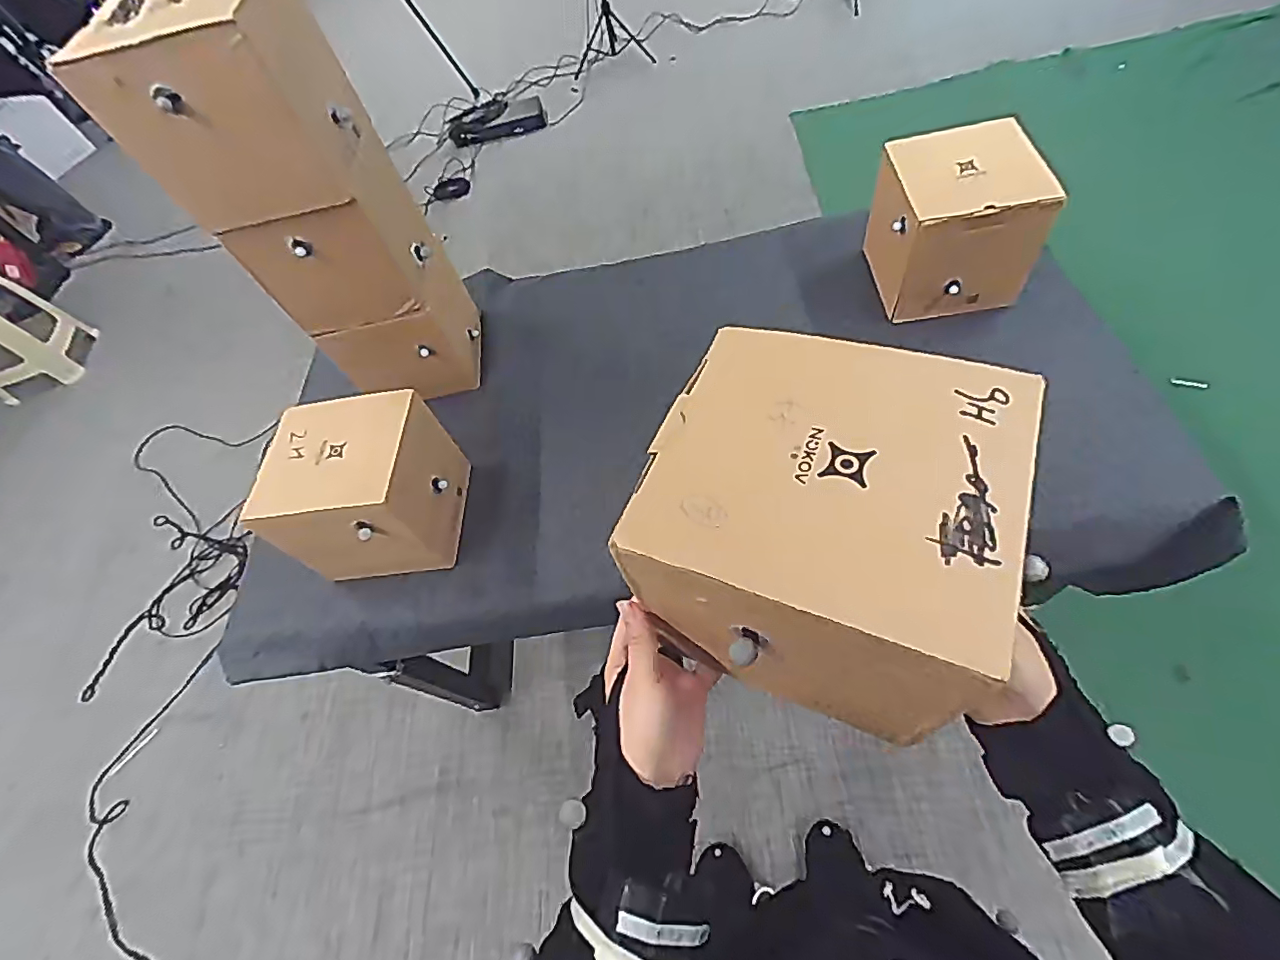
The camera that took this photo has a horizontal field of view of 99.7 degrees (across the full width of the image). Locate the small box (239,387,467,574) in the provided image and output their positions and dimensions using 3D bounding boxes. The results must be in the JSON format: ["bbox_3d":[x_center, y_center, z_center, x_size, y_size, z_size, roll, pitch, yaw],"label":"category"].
[{"bbox_3d":[-0.341,0.007,0.686,0.179,0.176,0.168,-7,56,7],"label":"small box"}]

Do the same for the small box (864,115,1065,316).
[{"bbox_3d":[0.424,-0.358,0.747,0.168,0.176,0.179,-7,61,8],"label":"small box"}]

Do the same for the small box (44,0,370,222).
[{"bbox_3d":[-0.418,-0.398,0.559,0.179,0.176,0.168,-10,61,4],"label":"small box"}]

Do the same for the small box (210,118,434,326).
[{"bbox_3d":[-0.395,-0.325,0.706,0.179,0.176,0.168,-12,61,3],"label":"small box"}]

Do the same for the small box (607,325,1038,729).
[{"bbox_3d":[0.108,0.032,0.335,0.179,0.176,0.168,16,61,23],"label":"small box"}]
